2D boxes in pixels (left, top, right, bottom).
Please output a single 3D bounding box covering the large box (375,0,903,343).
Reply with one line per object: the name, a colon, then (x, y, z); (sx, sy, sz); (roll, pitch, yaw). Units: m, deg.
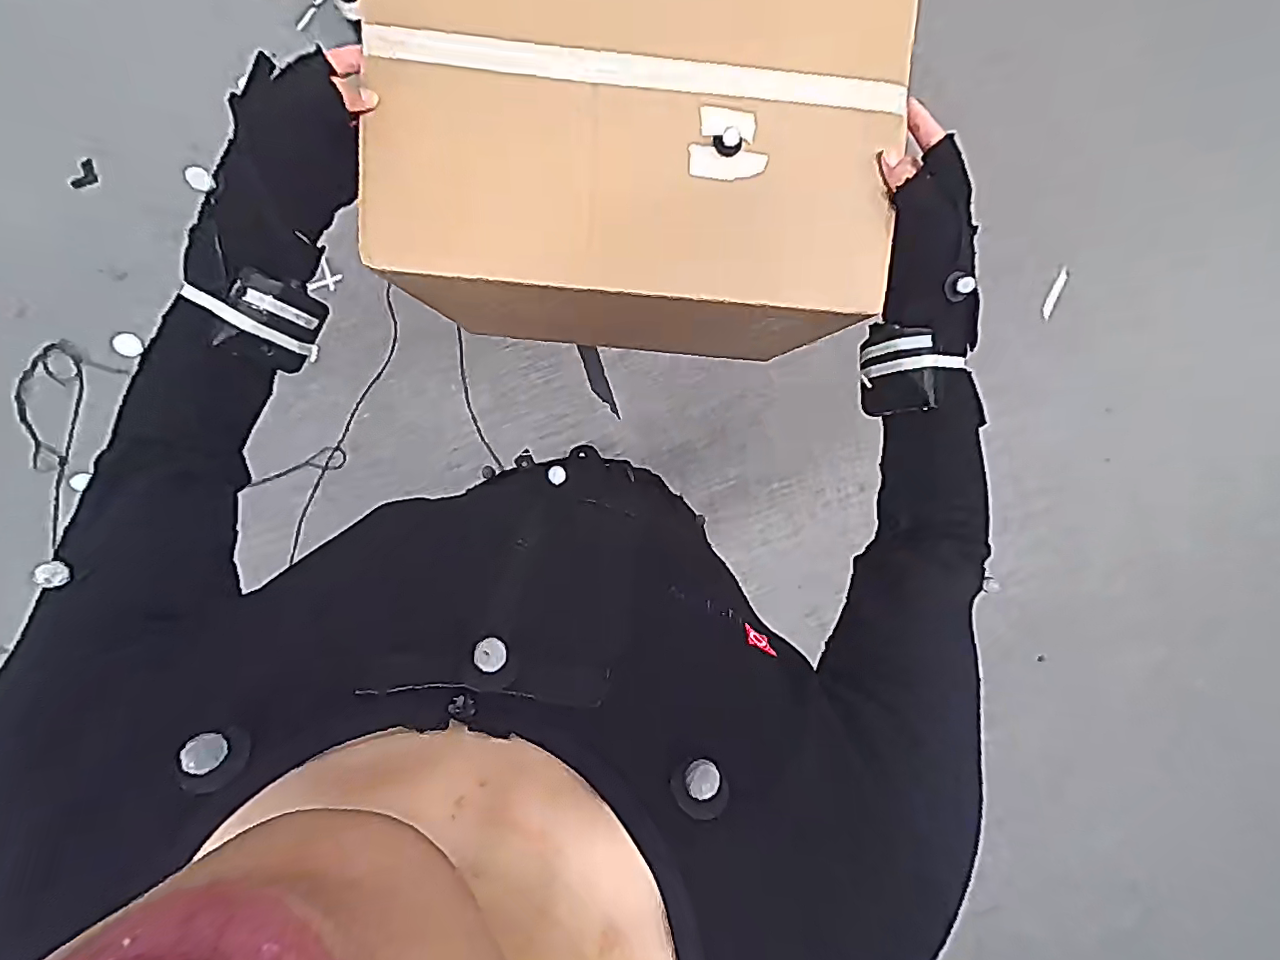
large box: (-0.009, -0.328, 0.560); (0.408, 0.320, 0.320); (3, 97, -4)
